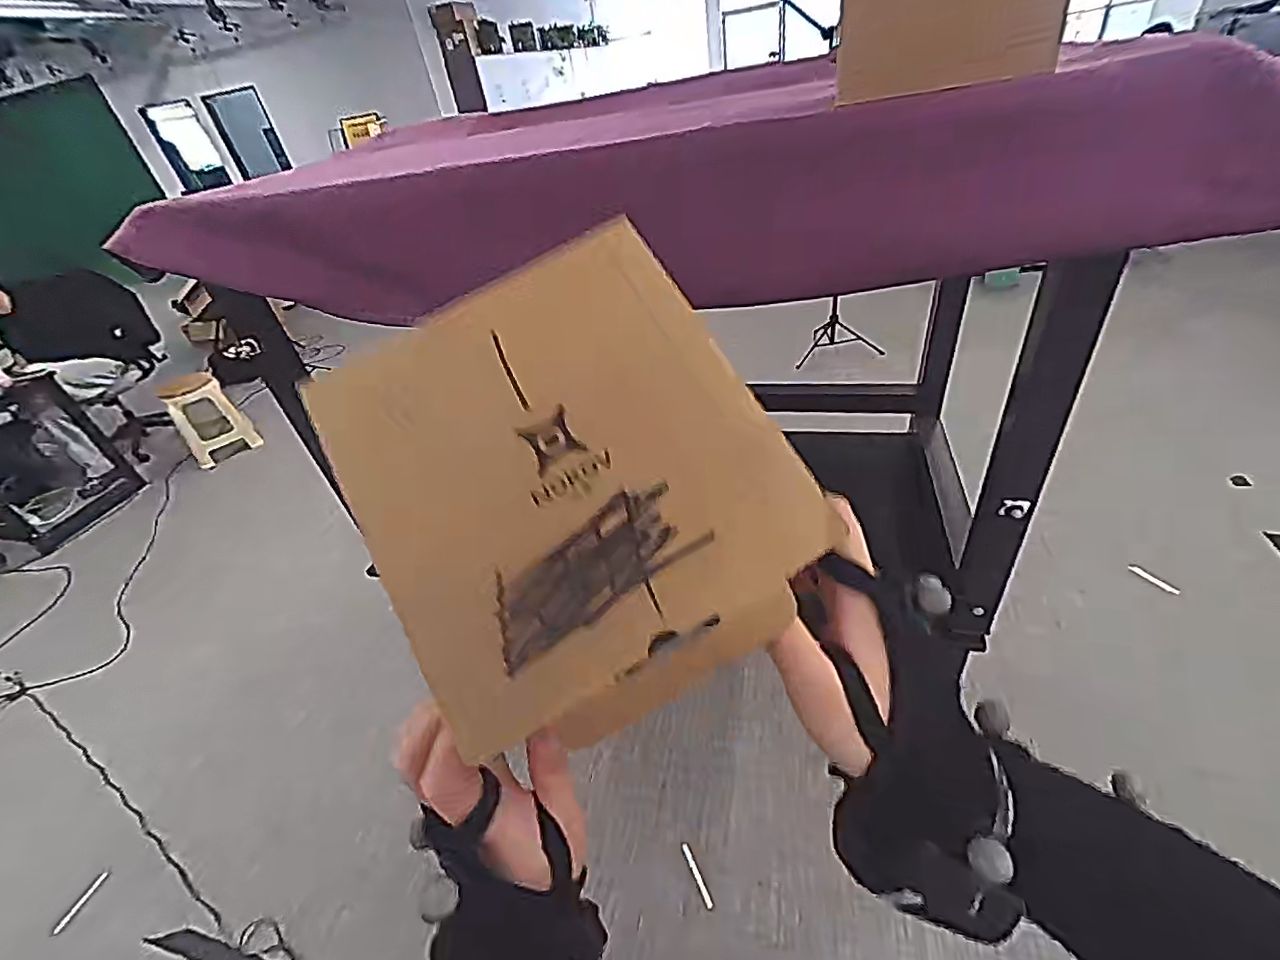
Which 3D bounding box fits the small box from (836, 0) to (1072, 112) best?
[{"bbox_3d":[0.279,-0.450,0.483,0.179,0.176,0.168,5,39,22],"label":"small box"}]
